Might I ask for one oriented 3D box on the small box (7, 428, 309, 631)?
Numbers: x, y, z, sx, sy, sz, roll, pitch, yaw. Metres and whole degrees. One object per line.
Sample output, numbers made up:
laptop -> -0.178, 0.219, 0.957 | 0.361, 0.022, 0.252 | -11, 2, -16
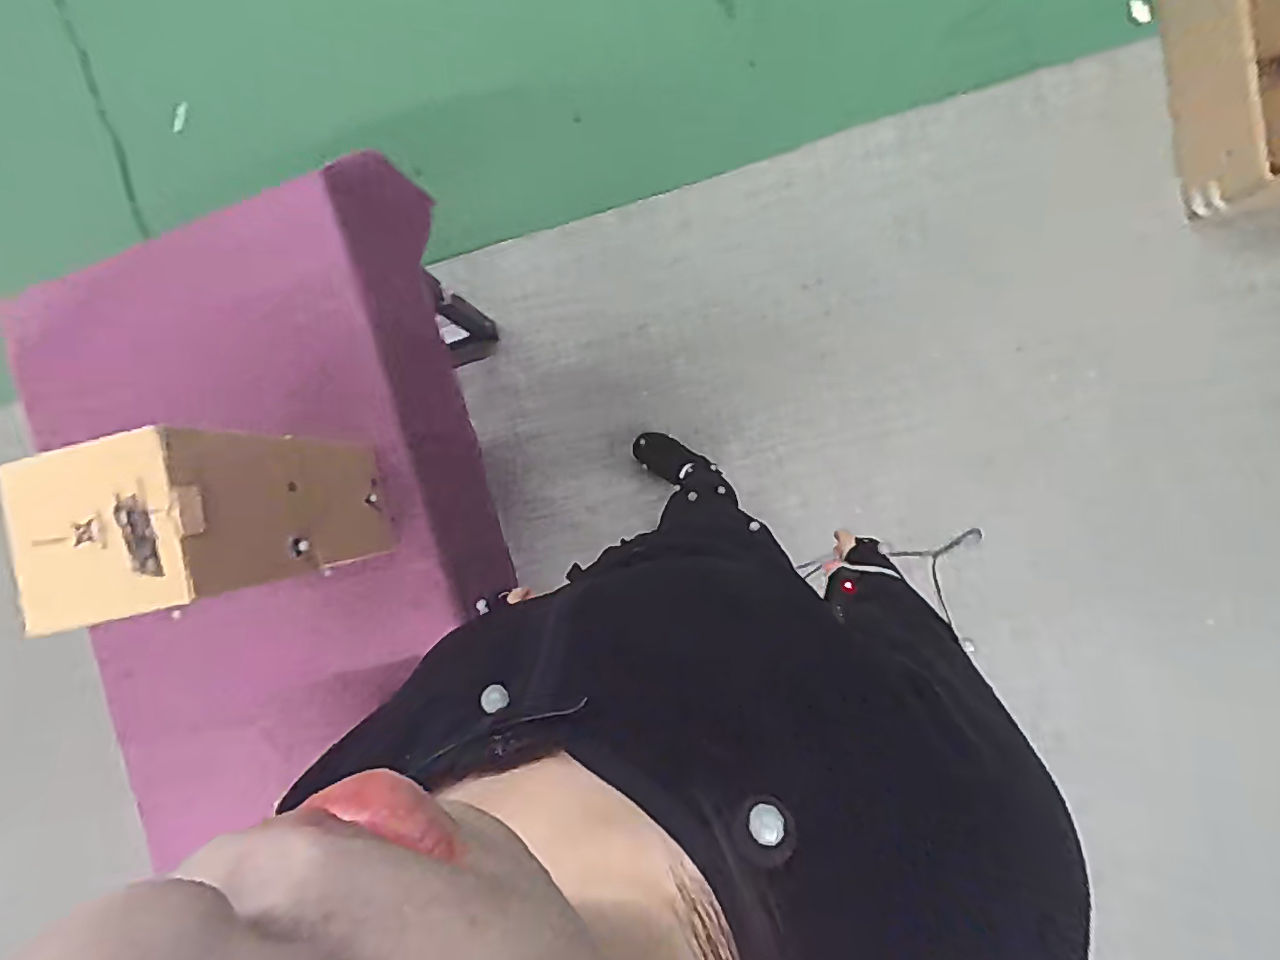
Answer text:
small box -> -0.492, 0.046, 0.582 | 0.179, 0.176, 0.168 | -13, 88, 8

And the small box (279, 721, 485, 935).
small box -> -0.332, 0.446, 0.726 | 0.168, 0.176, 0.179 | -16, 88, 8
